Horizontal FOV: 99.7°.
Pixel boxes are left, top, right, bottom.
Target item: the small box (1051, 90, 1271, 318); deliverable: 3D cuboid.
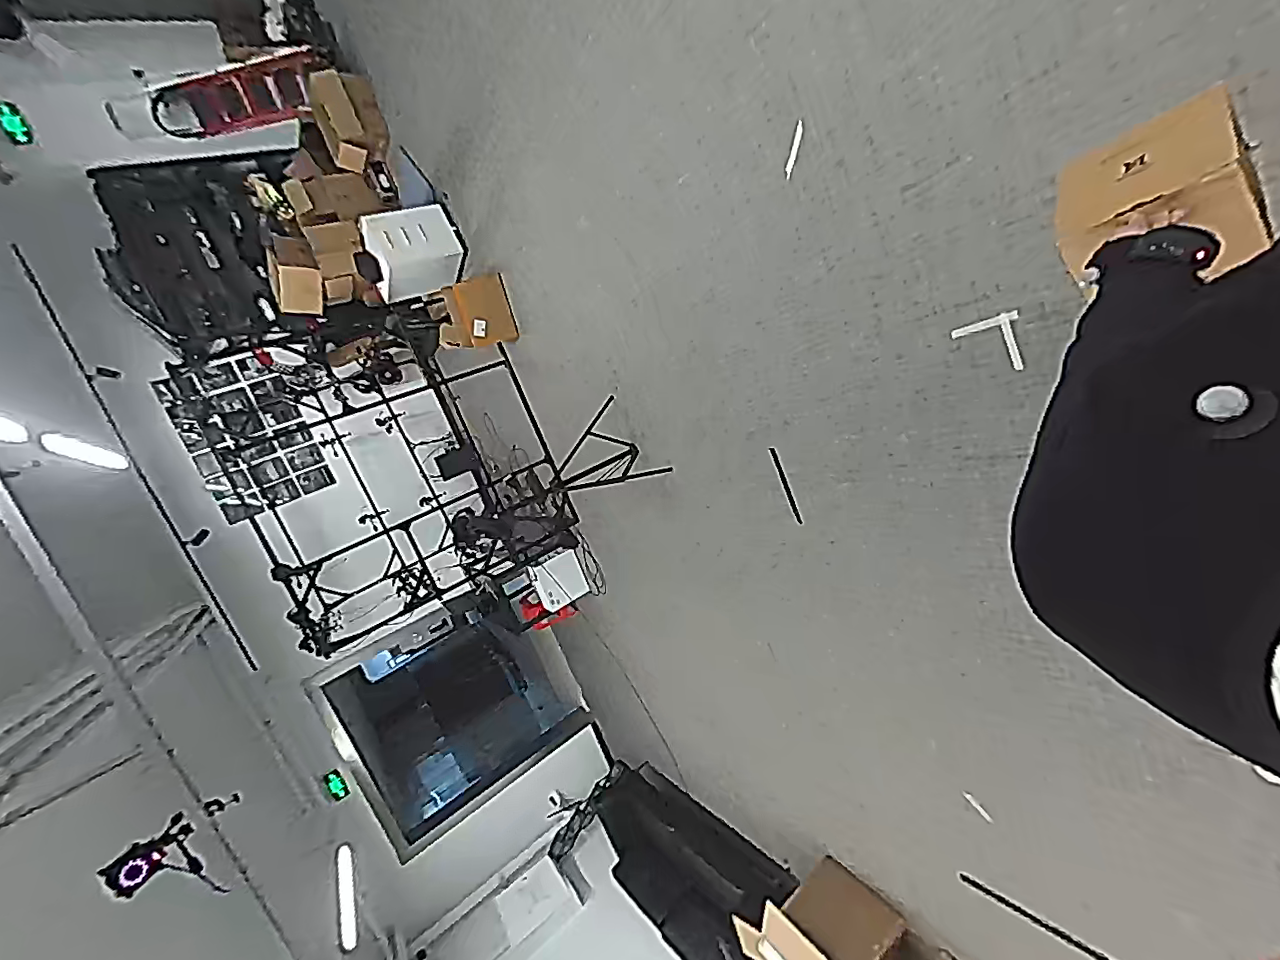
[{"bbox_3d":[0.670,-0.338,0.702,0.176,0.179,0.168,39,151,-23],"label":"small box"}]
